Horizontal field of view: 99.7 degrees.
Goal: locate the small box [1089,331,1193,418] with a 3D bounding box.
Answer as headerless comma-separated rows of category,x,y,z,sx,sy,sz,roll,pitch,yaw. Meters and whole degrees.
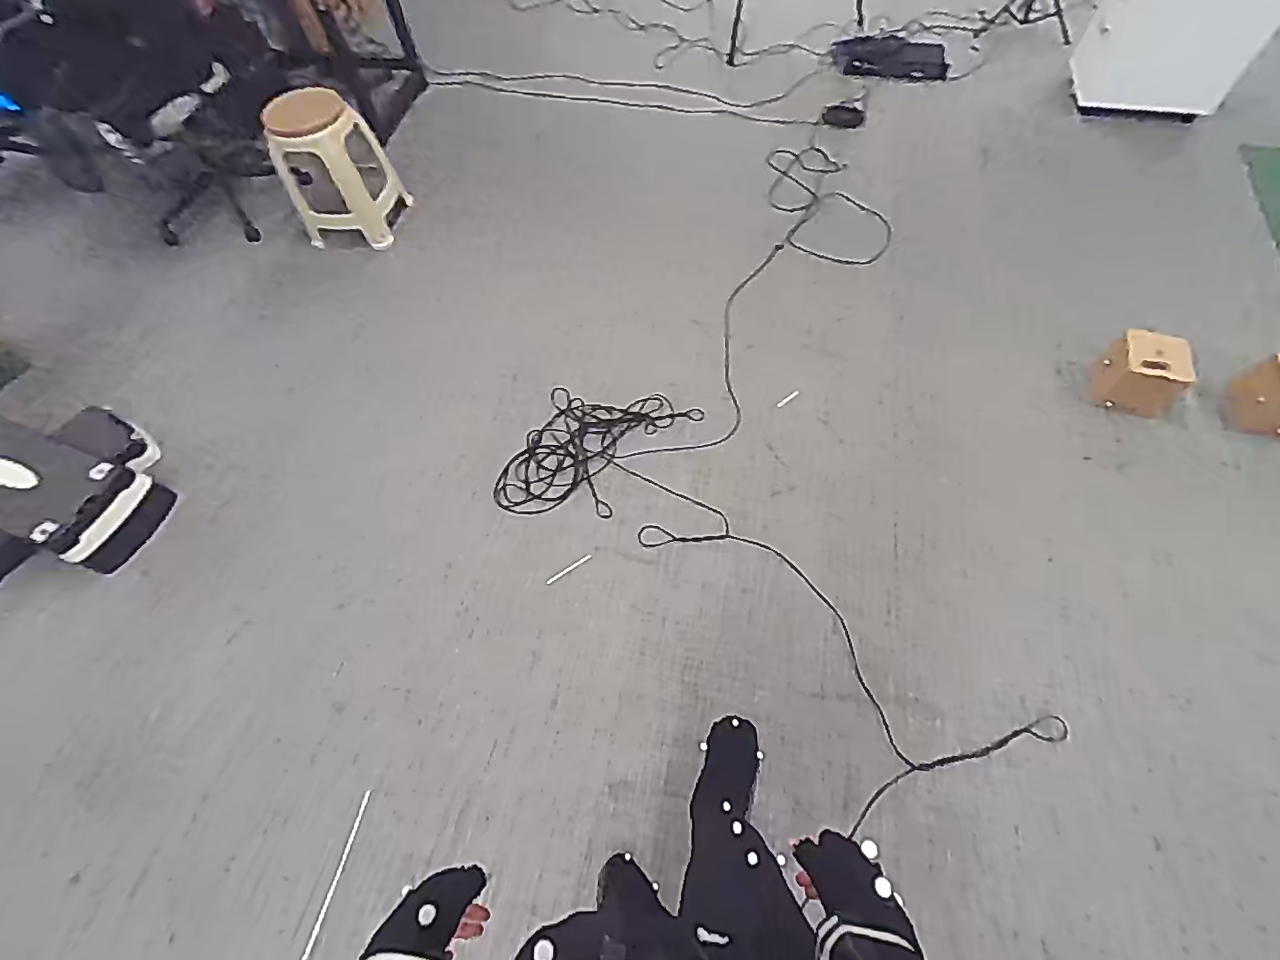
small box,1.497,-0.313,1.629,0.168,0.176,0.179,16,62,12
